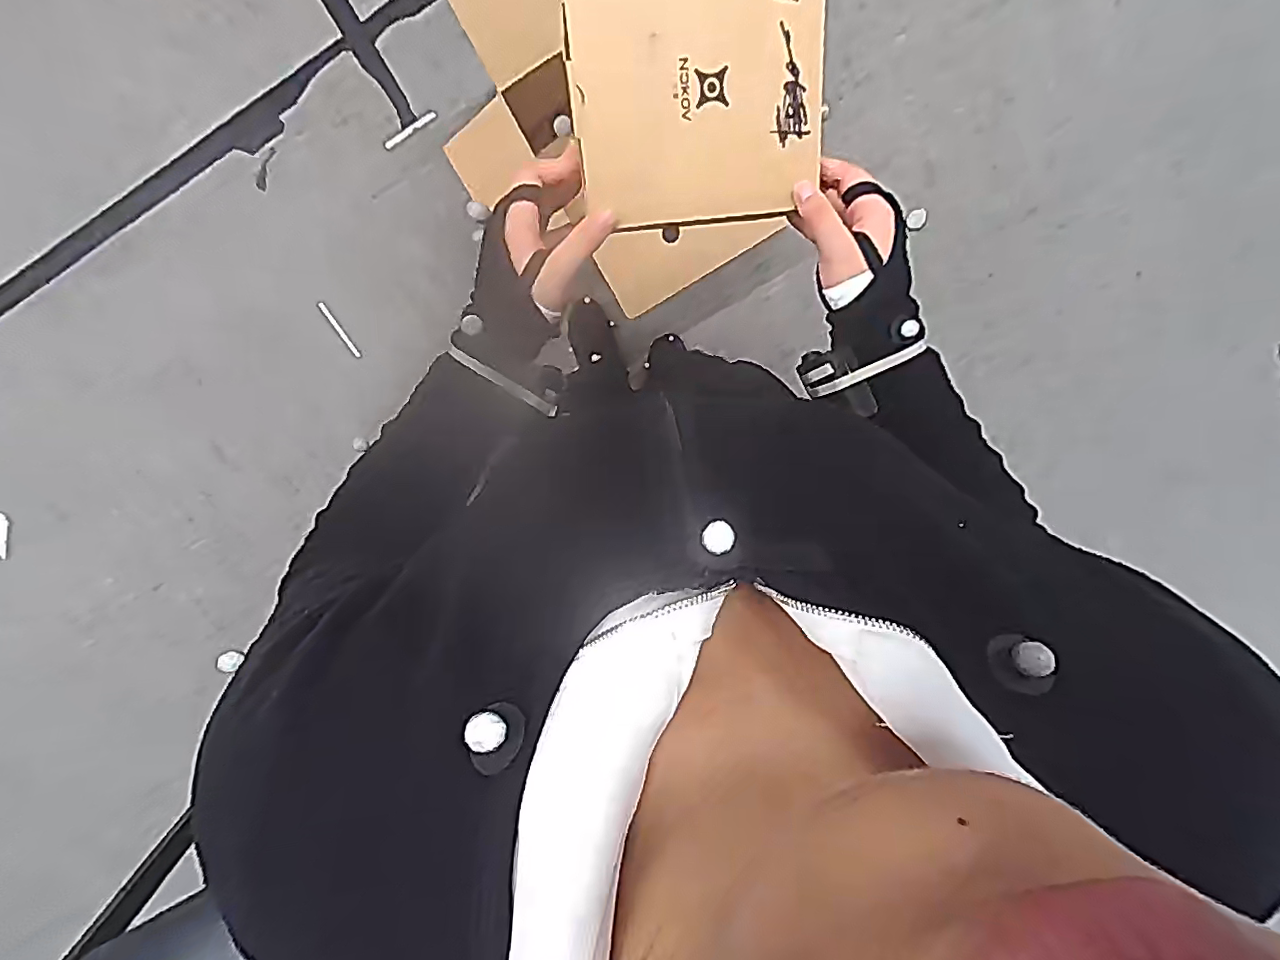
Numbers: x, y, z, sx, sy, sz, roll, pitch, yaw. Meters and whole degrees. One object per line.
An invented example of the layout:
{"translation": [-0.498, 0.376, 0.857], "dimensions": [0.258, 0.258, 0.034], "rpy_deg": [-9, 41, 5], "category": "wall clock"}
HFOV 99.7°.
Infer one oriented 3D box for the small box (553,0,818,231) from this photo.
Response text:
{"translation": [0.030, -0.303, 0.443], "dimensions": [0.179, 0.176, 0.168], "rpy_deg": [-6, 113, -2], "category": "small box"}
